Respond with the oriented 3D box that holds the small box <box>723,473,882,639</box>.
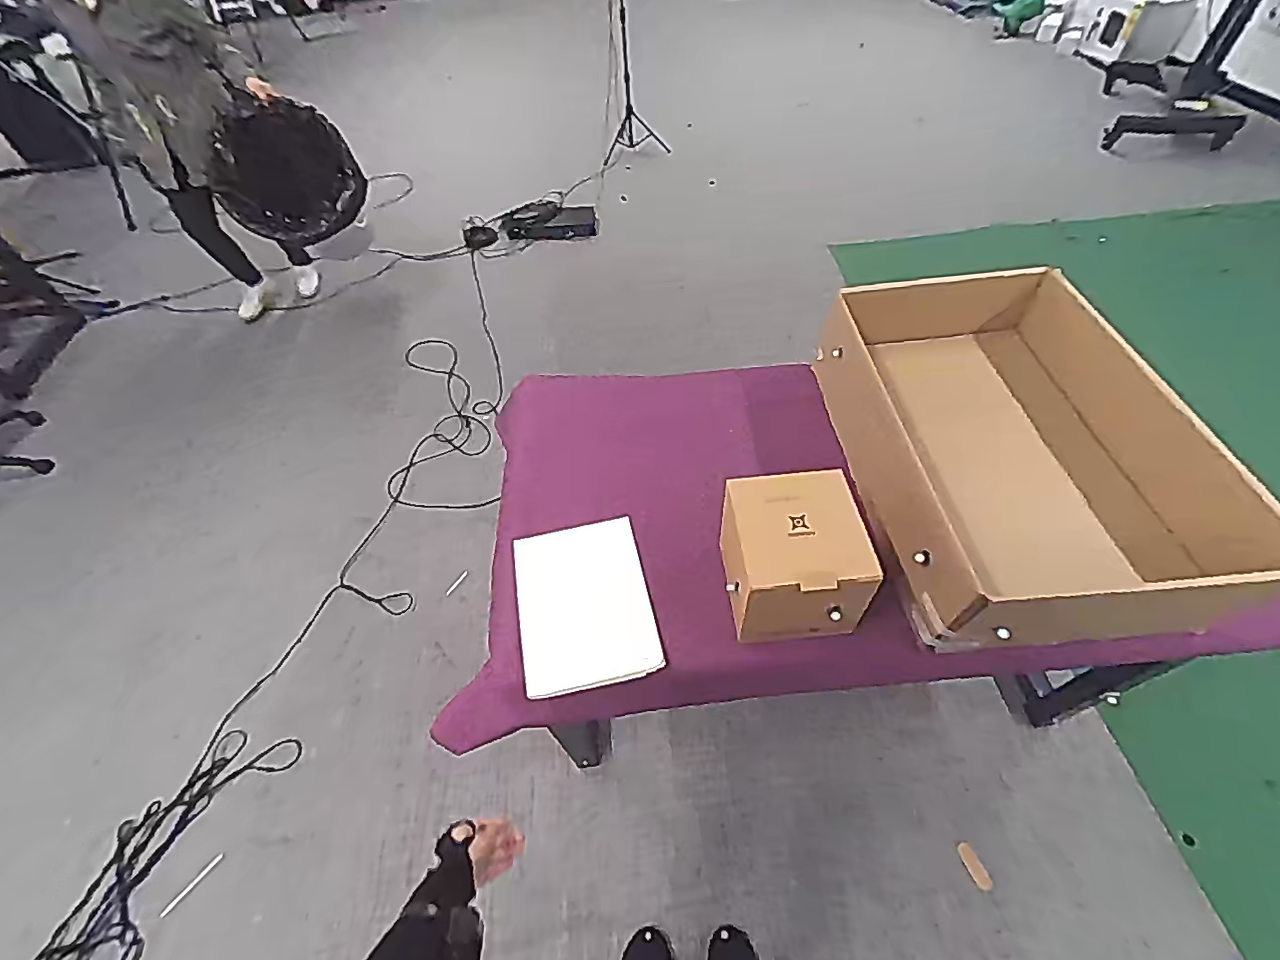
[{"bbox_3d":[0.214,0.115,0.766,0.168,0.176,0.179,-5,50,0],"label":"small box"}]
